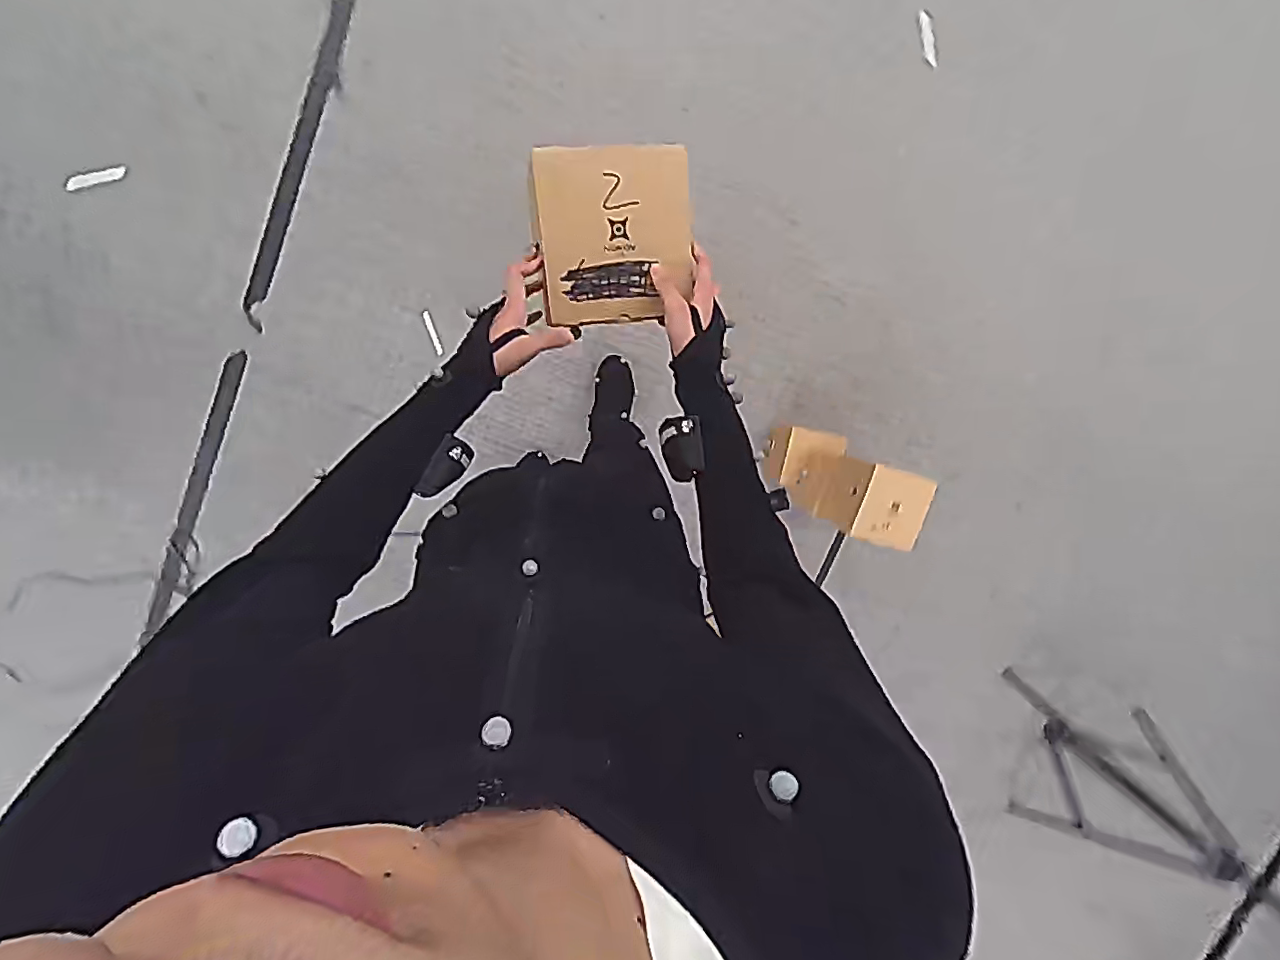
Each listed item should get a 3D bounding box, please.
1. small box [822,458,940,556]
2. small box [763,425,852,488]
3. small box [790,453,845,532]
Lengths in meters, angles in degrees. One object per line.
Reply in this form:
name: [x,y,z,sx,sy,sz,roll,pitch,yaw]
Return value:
small box: [0.567,0.057,1.297,0.168,0.176,0.179,18,98,-10]
small box: [0.489,-0.064,1.599,0.179,0.176,0.168,11,100,-8]
small box: [0.541,0.038,1.459,0.179,0.176,0.168,25,97,-11]
